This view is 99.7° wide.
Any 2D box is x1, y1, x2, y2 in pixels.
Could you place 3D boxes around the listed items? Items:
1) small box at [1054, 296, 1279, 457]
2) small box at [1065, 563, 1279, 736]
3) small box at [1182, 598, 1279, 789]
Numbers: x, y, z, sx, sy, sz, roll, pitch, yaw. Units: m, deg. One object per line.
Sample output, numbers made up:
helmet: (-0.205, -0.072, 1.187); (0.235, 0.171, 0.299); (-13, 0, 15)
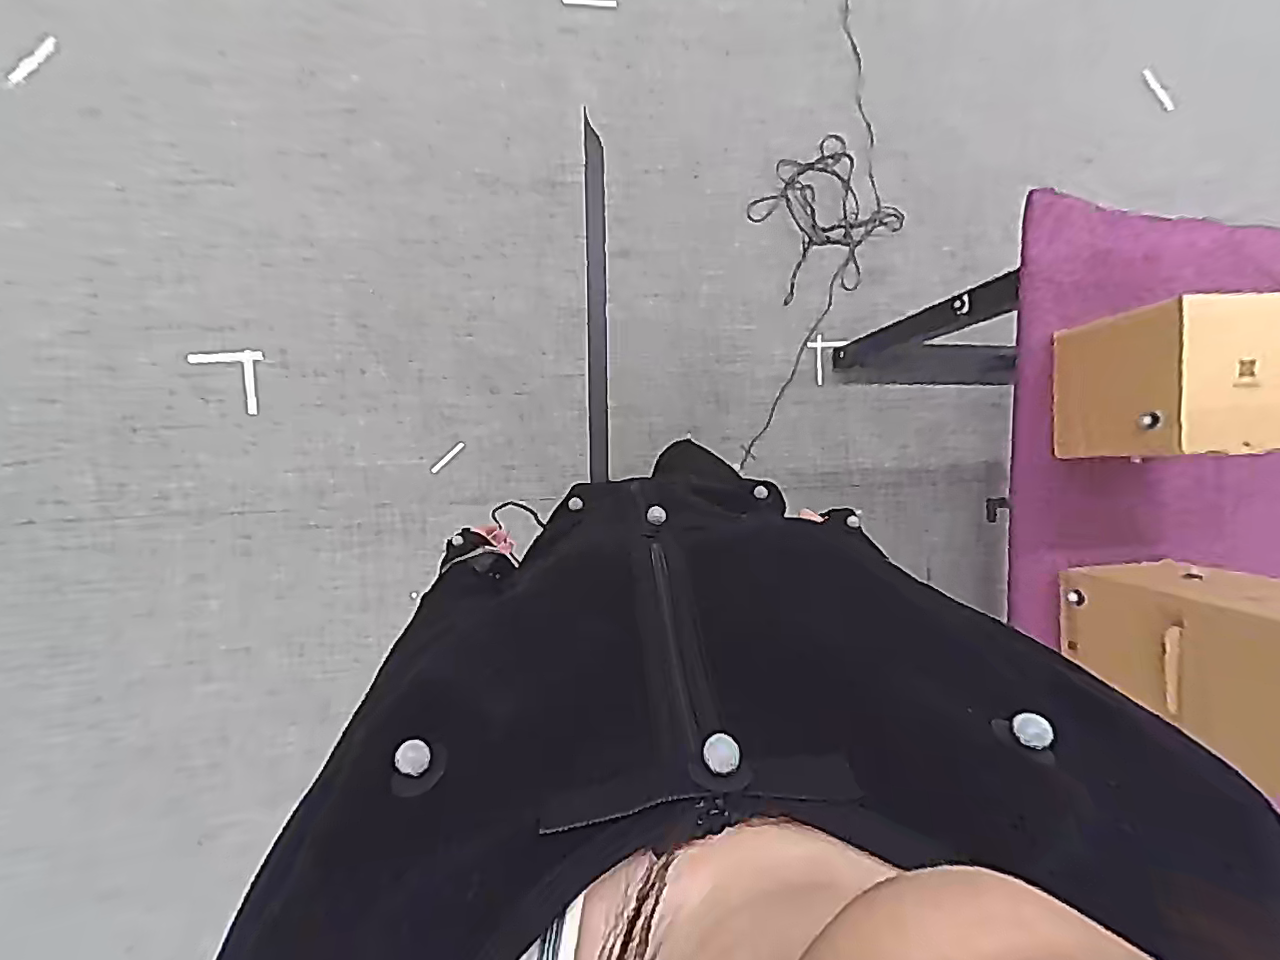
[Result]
small box: (0.664, -0.119, 0.681); (0.168, 0.176, 0.179); (-3, 93, -6)
small box: (0.690, 0.206, 0.695); (0.179, 0.176, 0.168); (-3, 93, -6)
small box: (0.692, 0.217, 0.529); (0.168, 0.176, 0.179); (-1, 93, -5)
